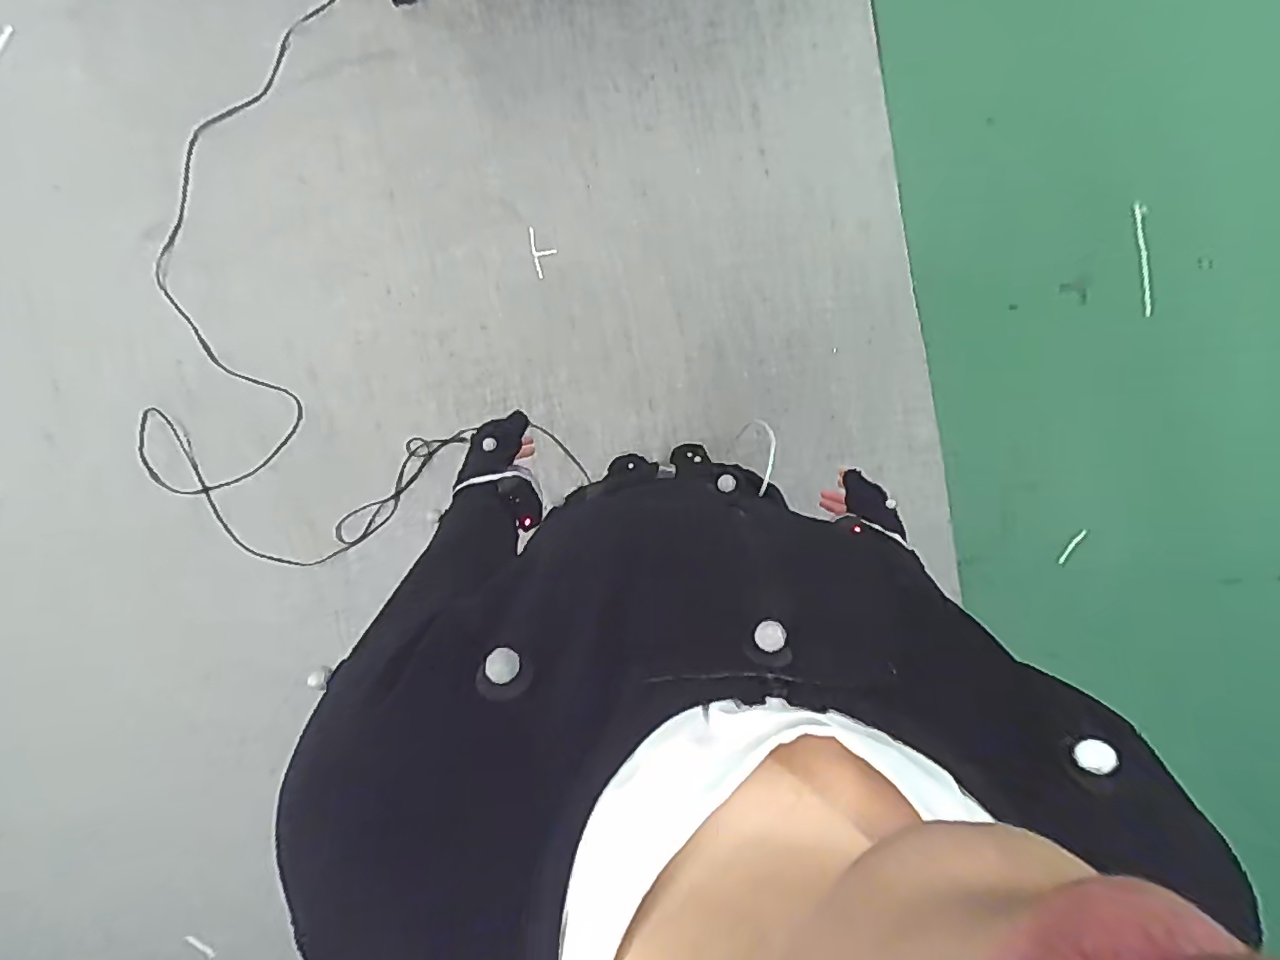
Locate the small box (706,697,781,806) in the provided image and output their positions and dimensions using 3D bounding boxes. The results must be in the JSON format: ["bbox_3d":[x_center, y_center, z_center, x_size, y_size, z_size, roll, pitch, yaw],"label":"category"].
[{"bbox_3d":[0.277,0.699,1.405,0.168,0.176,0.179,-13,96,-1],"label":"small box"}]

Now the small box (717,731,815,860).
[{"bbox_3d":[0.283,0.717,1.244,0.168,0.176,0.179,-14,96,0],"label":"small box"}]
